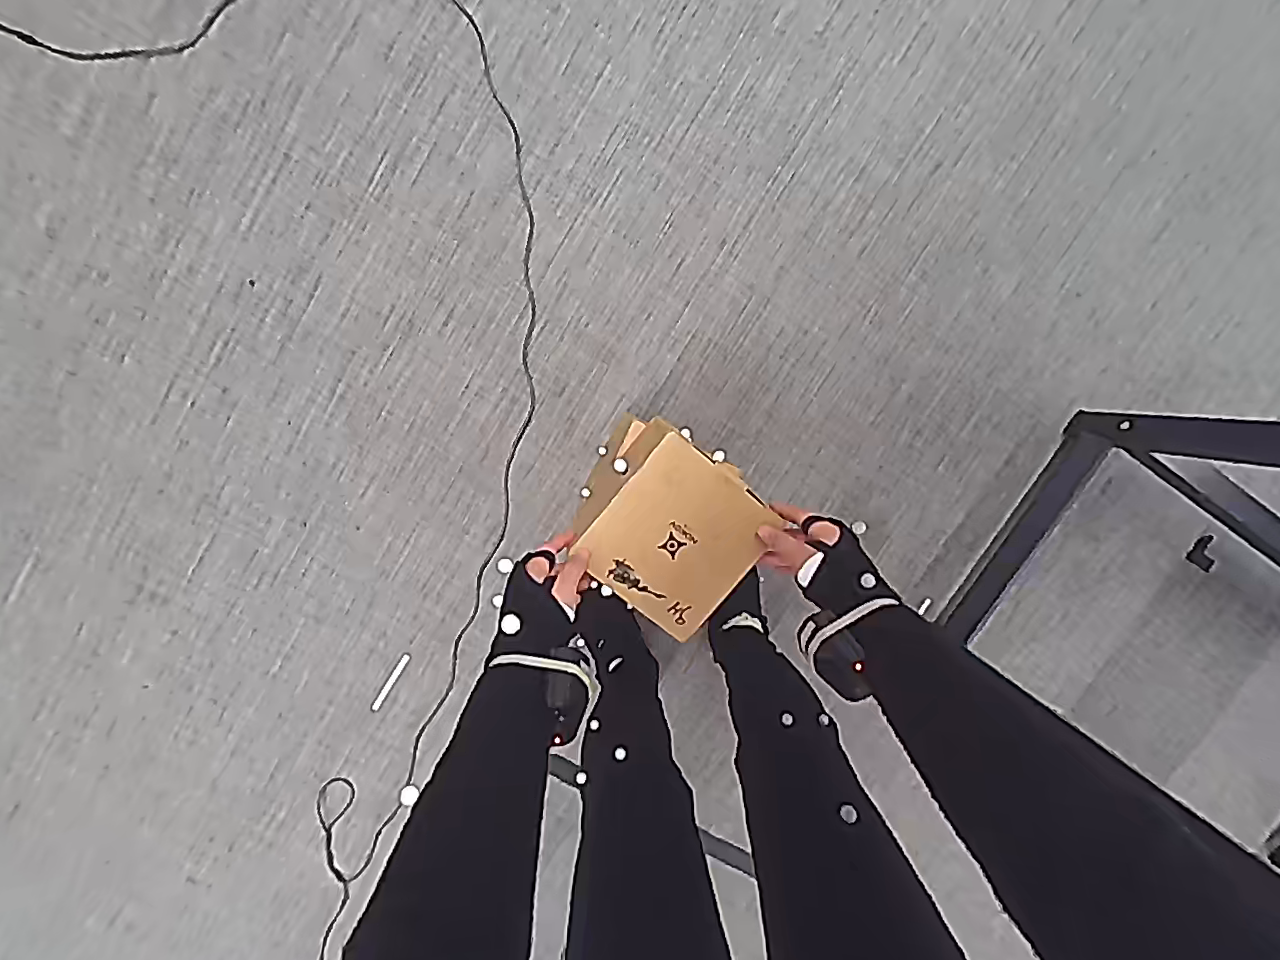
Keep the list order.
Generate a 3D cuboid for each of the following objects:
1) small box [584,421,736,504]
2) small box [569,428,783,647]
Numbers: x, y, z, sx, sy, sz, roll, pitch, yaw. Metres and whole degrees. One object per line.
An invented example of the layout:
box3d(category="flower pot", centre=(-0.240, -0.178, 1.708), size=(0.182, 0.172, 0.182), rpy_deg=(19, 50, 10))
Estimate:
box3d(category="small box", centre=(0.017, 0.024, 0.806), size=(0.168, 0.176, 0.179), rpy_deg=(25, 95, -9))
box3d(category="small box", centre=(0.031, 0.053, 0.644), size=(0.168, 0.176, 0.179), rpy_deg=(39, 94, -10))
